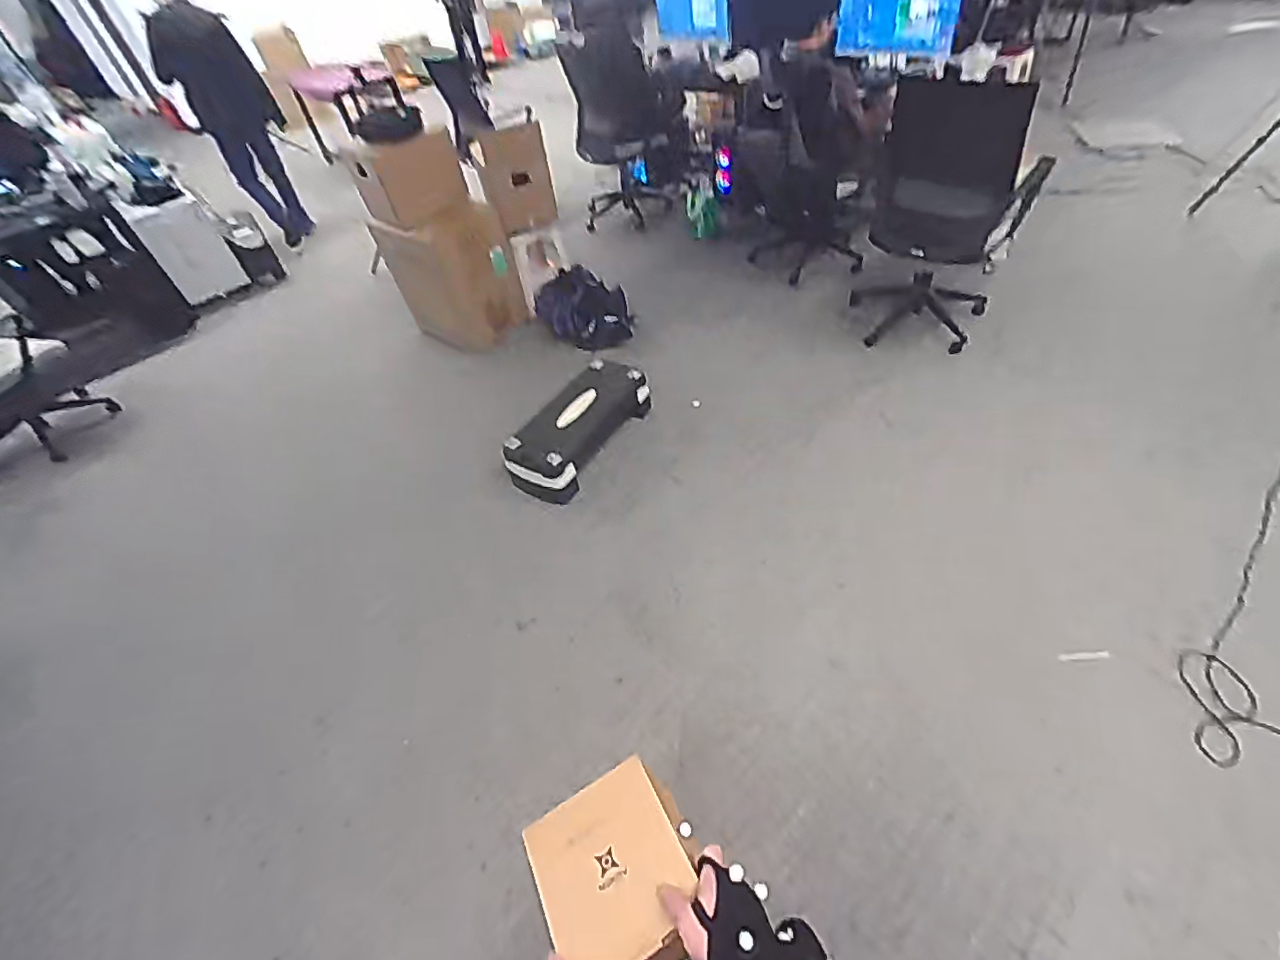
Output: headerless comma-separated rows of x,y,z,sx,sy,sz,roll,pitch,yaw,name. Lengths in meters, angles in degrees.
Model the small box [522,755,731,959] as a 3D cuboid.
-0.011,0.478,0.651,0.168,0.176,0.179,-31,43,-10,small box
